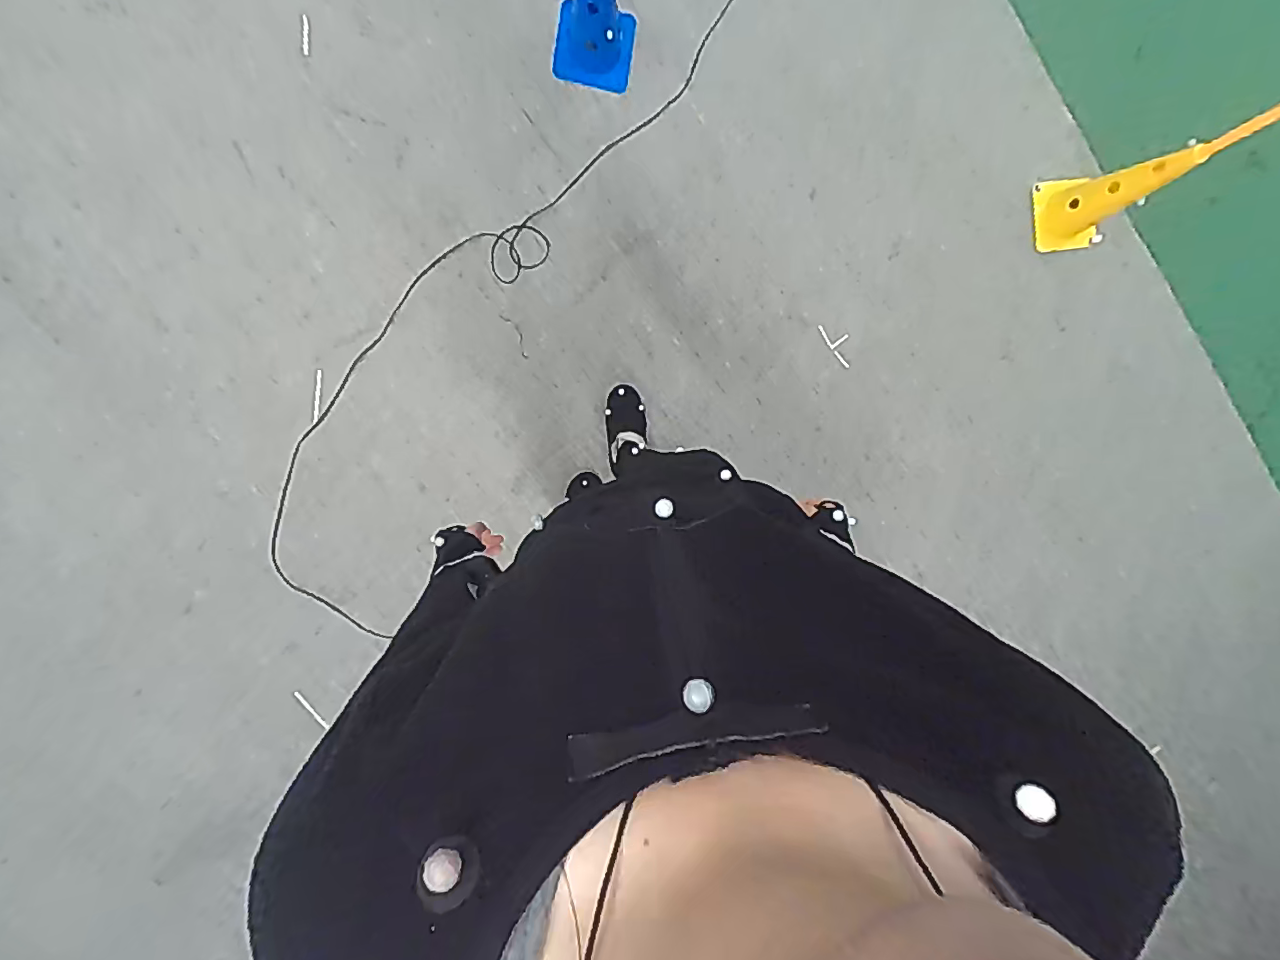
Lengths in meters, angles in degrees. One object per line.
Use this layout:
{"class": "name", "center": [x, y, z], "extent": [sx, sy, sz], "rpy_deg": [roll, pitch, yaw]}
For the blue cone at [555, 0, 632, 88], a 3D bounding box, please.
{"class": "blue cone", "center": [-0.106, -1.106, 1.231], "extent": [0.193, 0.380, 0.192], "rpy_deg": [7, 94, -6]}
